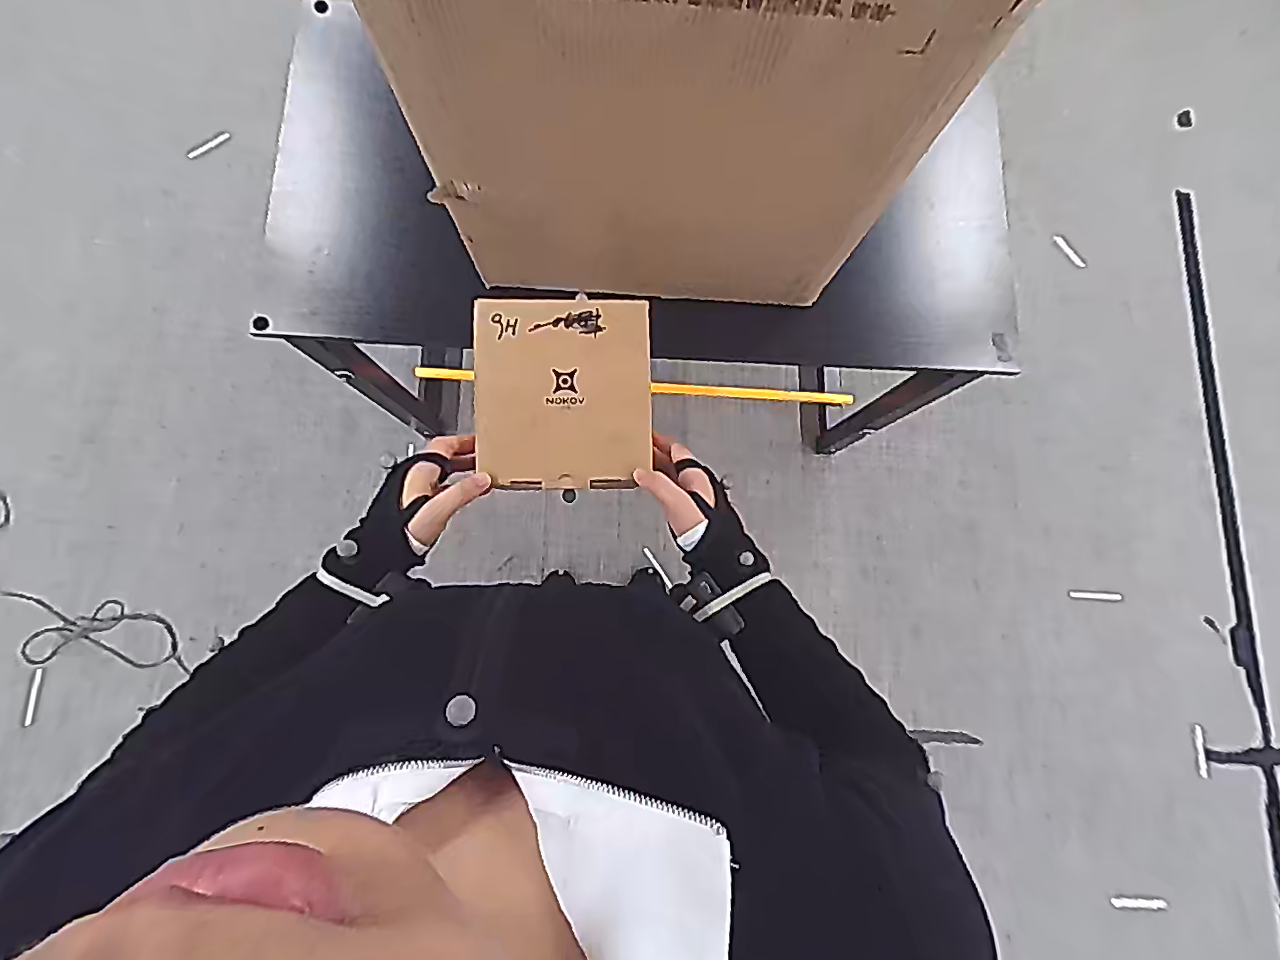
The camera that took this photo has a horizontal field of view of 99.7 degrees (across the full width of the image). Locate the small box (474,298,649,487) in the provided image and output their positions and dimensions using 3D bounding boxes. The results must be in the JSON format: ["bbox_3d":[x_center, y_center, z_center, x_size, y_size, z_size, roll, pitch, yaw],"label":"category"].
[{"bbox_3d":[-0.078,-0.081,0.585,0.168,0.176,0.179,-1,88,-5],"label":"small box"}]
